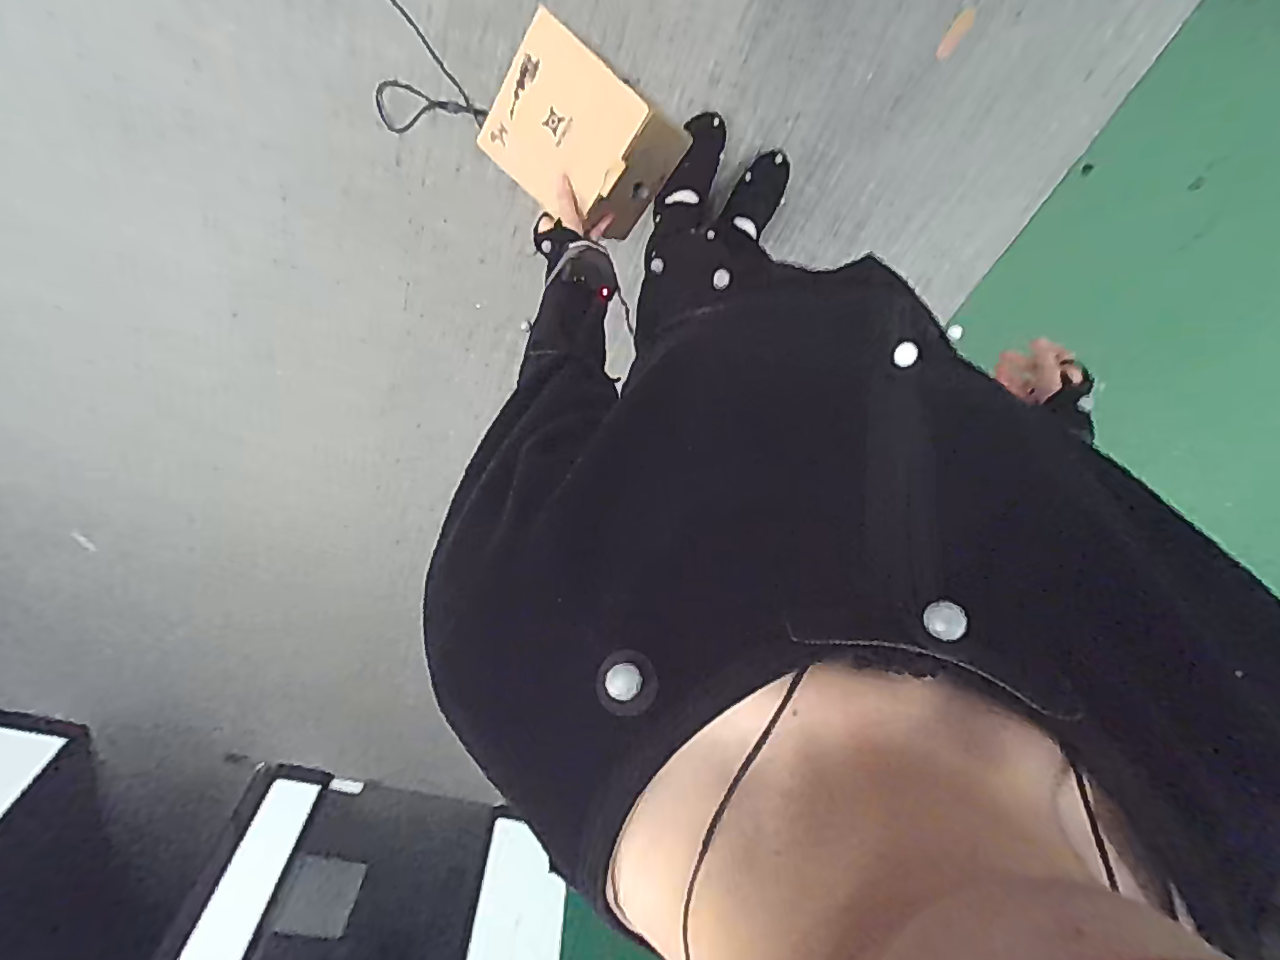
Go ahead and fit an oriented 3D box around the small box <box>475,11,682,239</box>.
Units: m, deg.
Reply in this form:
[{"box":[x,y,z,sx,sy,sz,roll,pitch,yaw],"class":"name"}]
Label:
[{"box":[-0.070,-0.442,0.707,0.179,0.176,0.168,43,118,0],"class":"small box"}]
